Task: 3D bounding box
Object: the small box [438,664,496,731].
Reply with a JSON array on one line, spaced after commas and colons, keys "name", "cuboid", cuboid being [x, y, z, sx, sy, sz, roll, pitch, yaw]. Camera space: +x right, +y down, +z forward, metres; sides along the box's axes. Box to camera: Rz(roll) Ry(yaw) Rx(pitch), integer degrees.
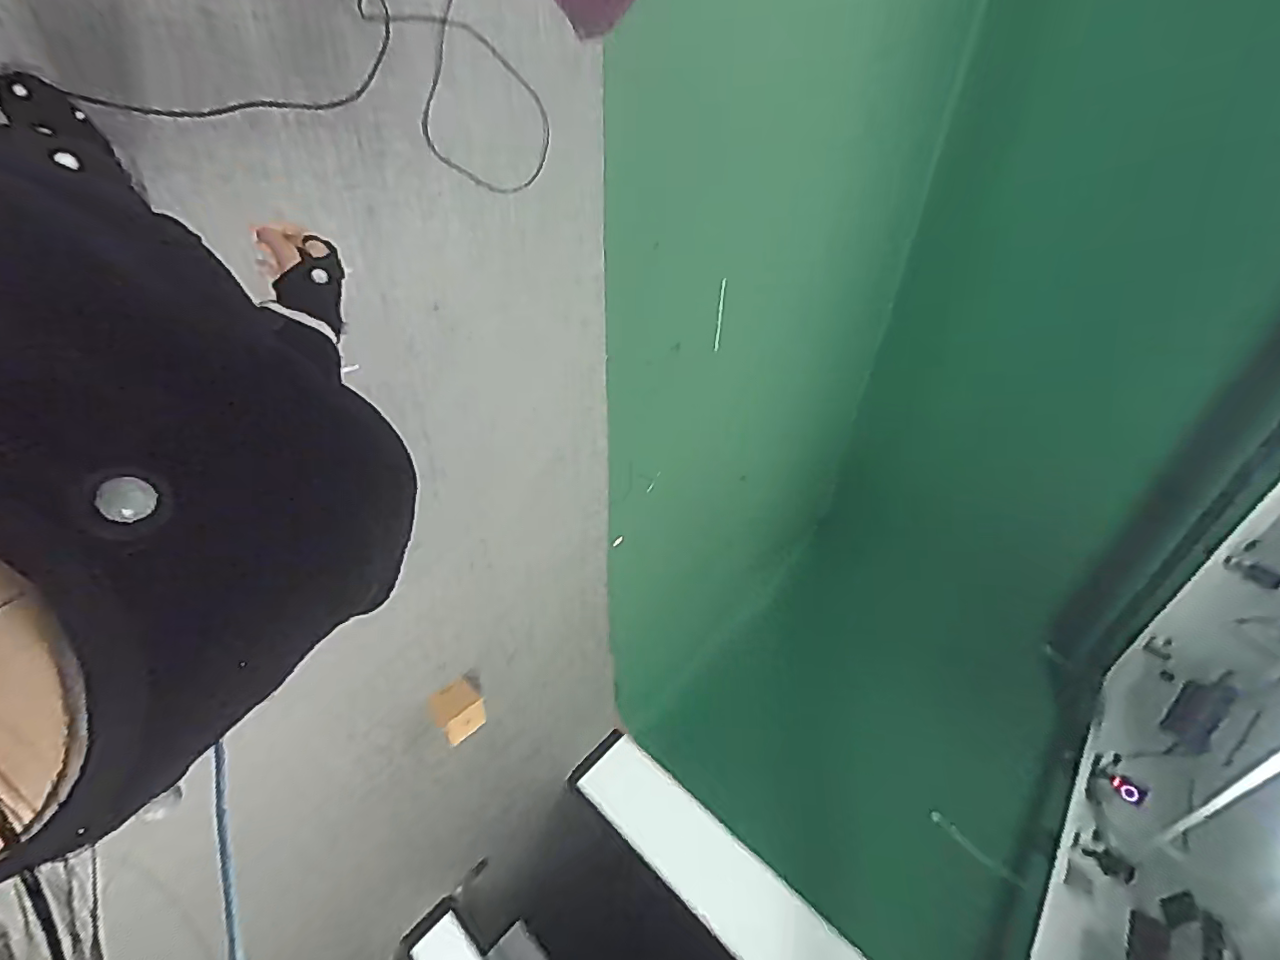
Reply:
[{"name": "small box", "cuboid": [-0.759, 0.948, 2.372, 0.168, 0.176, 0.179, -31, 137, -37]}]
